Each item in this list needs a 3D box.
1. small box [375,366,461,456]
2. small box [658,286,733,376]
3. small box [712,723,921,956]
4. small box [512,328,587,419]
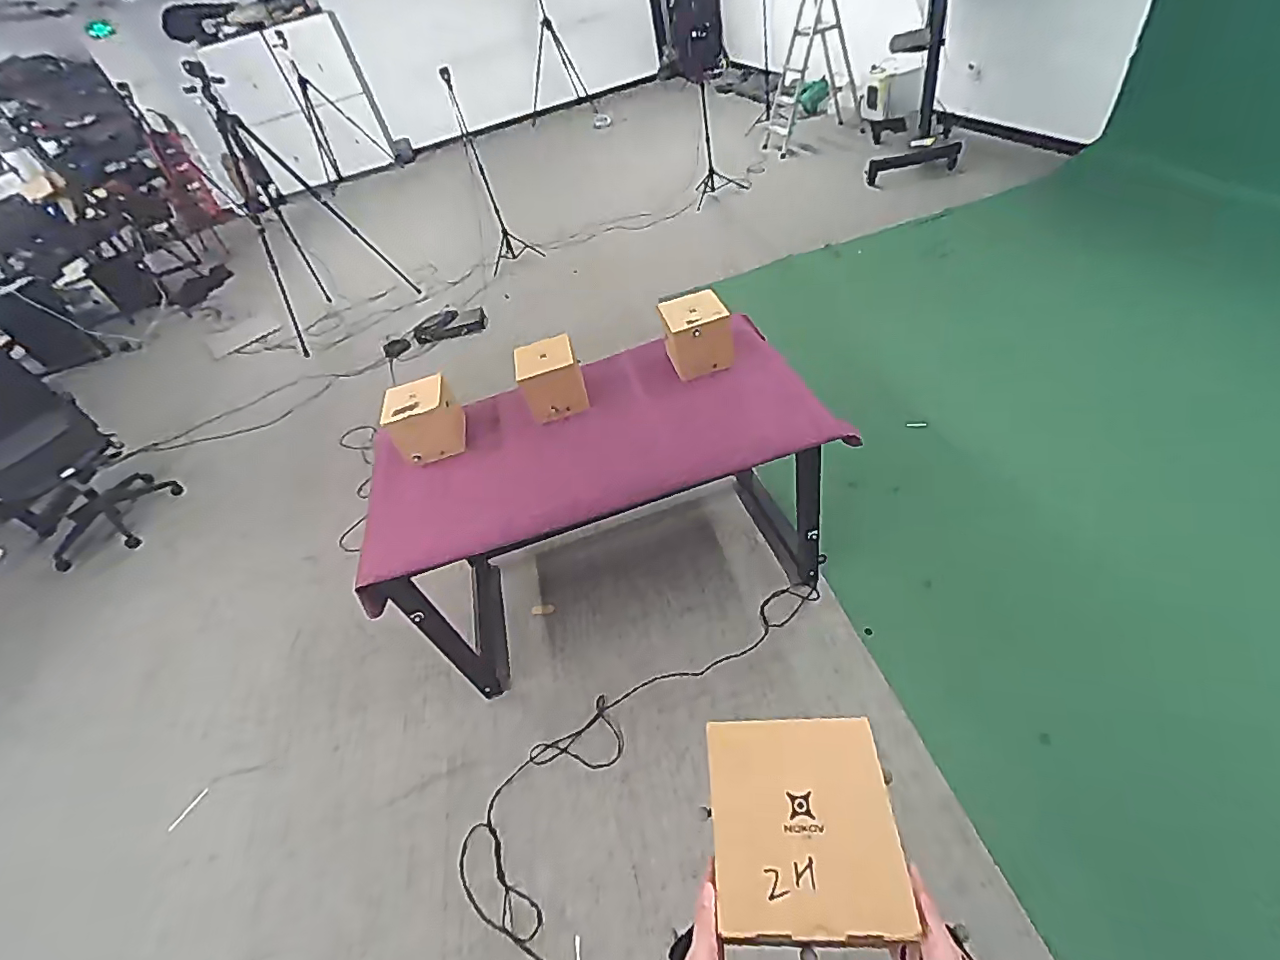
[{"bbox_3d":[-0.617,-0.187,1.527,0.168,0.176,0.179,-16,46,-2],"label":"small box"},{"bbox_3d":[0.160,-0.426,1.555,0.168,0.176,0.179,-17,45,-1],"label":"small box"},{"bbox_3d":[0.159,0.370,0.558,0.168,0.176,0.179,-4,48,7],"label":"small box"},{"bbox_3d":[-0.259,-0.304,1.551,0.168,0.176,0.179,-16,46,0],"label":"small box"}]
